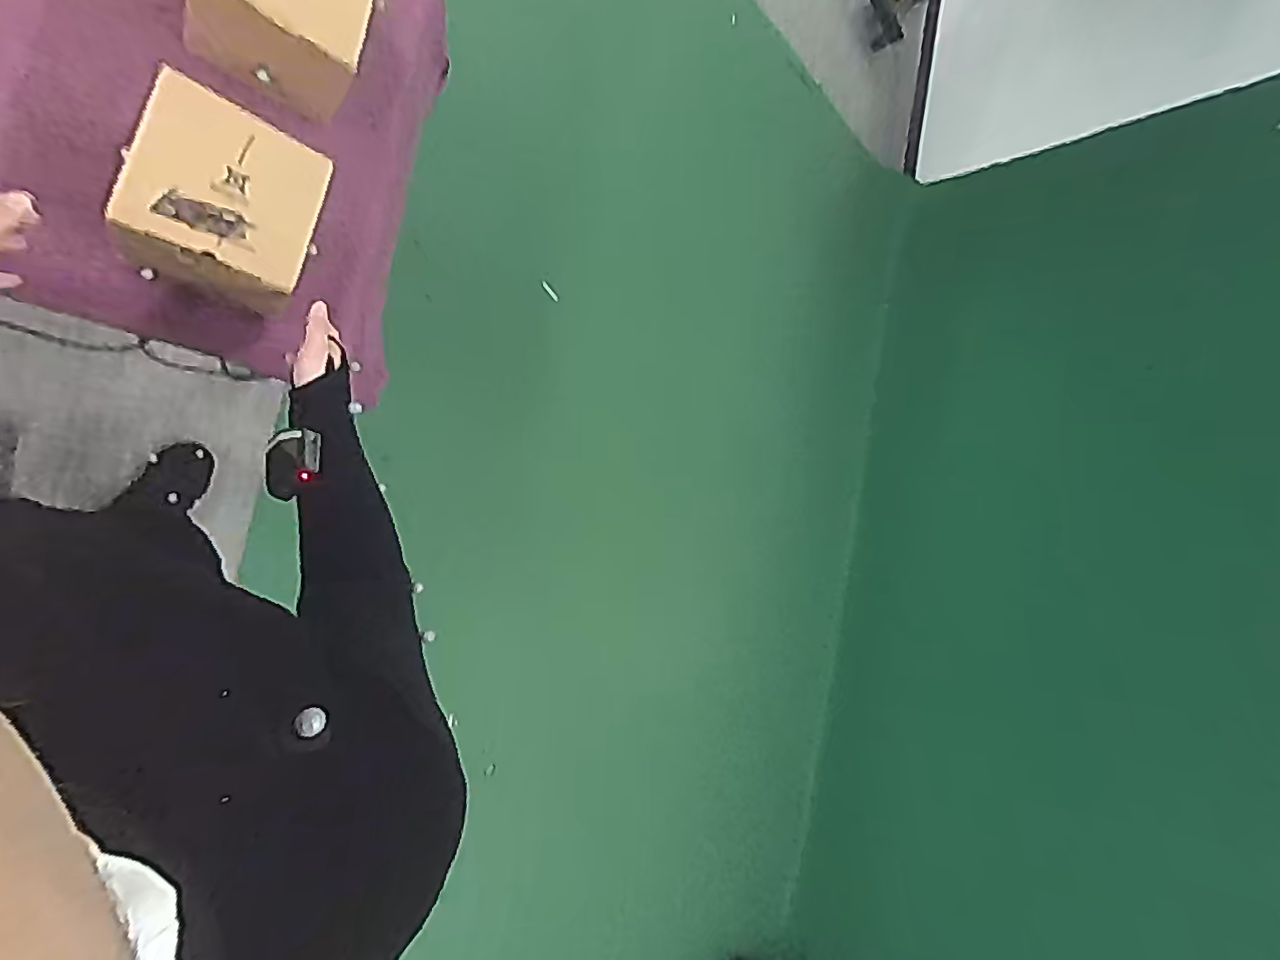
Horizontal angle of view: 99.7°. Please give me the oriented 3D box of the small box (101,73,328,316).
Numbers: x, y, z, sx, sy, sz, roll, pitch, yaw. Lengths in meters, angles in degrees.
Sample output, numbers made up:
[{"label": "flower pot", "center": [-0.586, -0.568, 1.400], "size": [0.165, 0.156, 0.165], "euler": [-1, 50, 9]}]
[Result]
[{"label": "small box", "center": [-0.511, -0.323, 0.659], "size": [0.168, 0.176, 0.179], "euler": [19, 79, -41]}]

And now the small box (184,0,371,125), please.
[{"label": "small box", "center": [-0.455, -0.608, 0.686], "size": [0.168, 0.176, 0.179], "euler": [15, 84, -41]}]
